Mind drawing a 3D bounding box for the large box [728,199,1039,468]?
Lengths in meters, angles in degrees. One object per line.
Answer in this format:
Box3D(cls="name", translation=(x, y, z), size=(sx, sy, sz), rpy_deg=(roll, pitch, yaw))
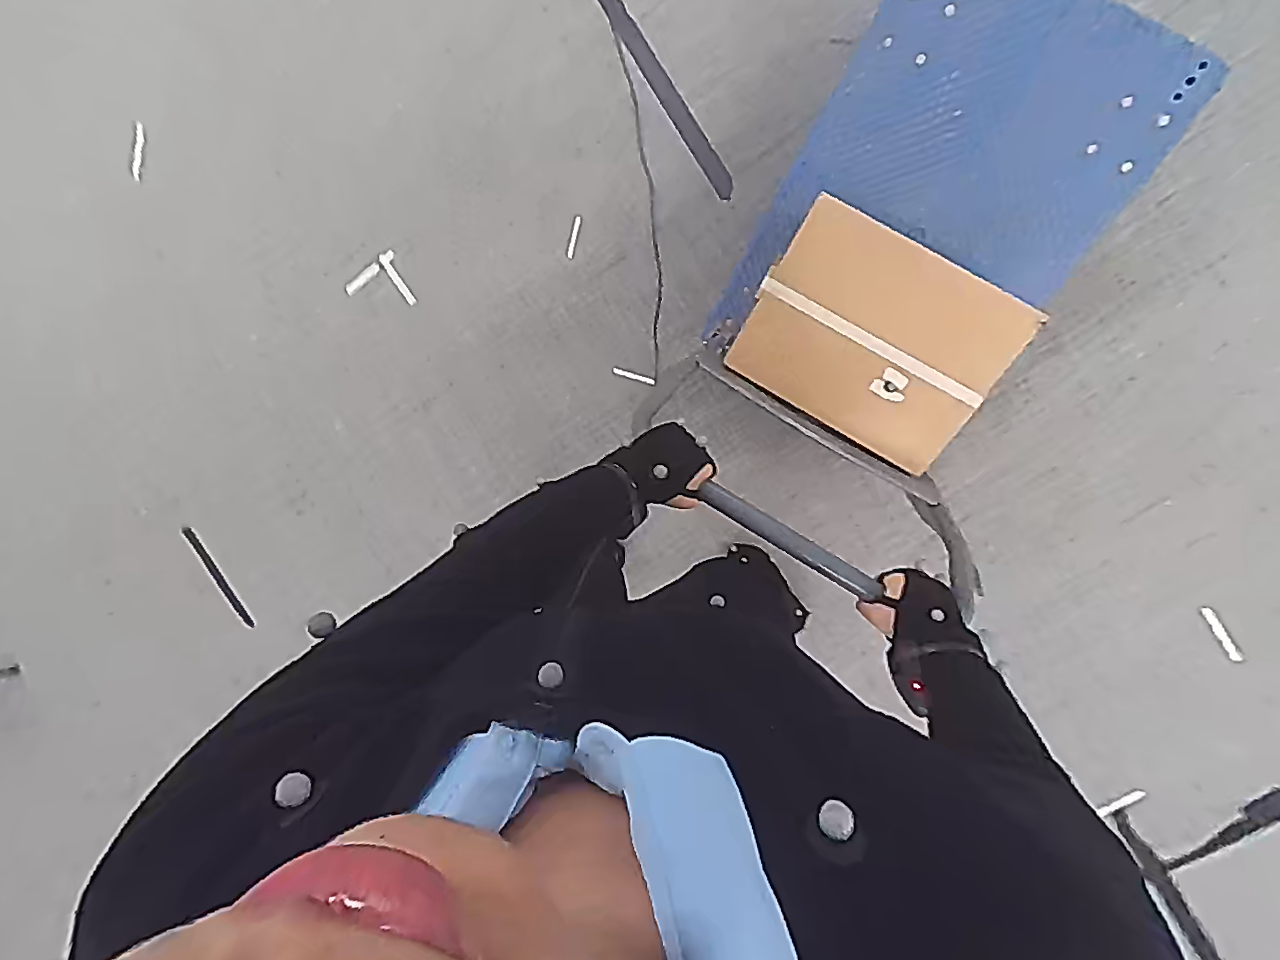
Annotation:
Box3D(cls="large box", translation=(0.431, -0.285, 1.063), size=(0.408, 0.320, 0.320), rpy_deg=(31, 114, 3))
